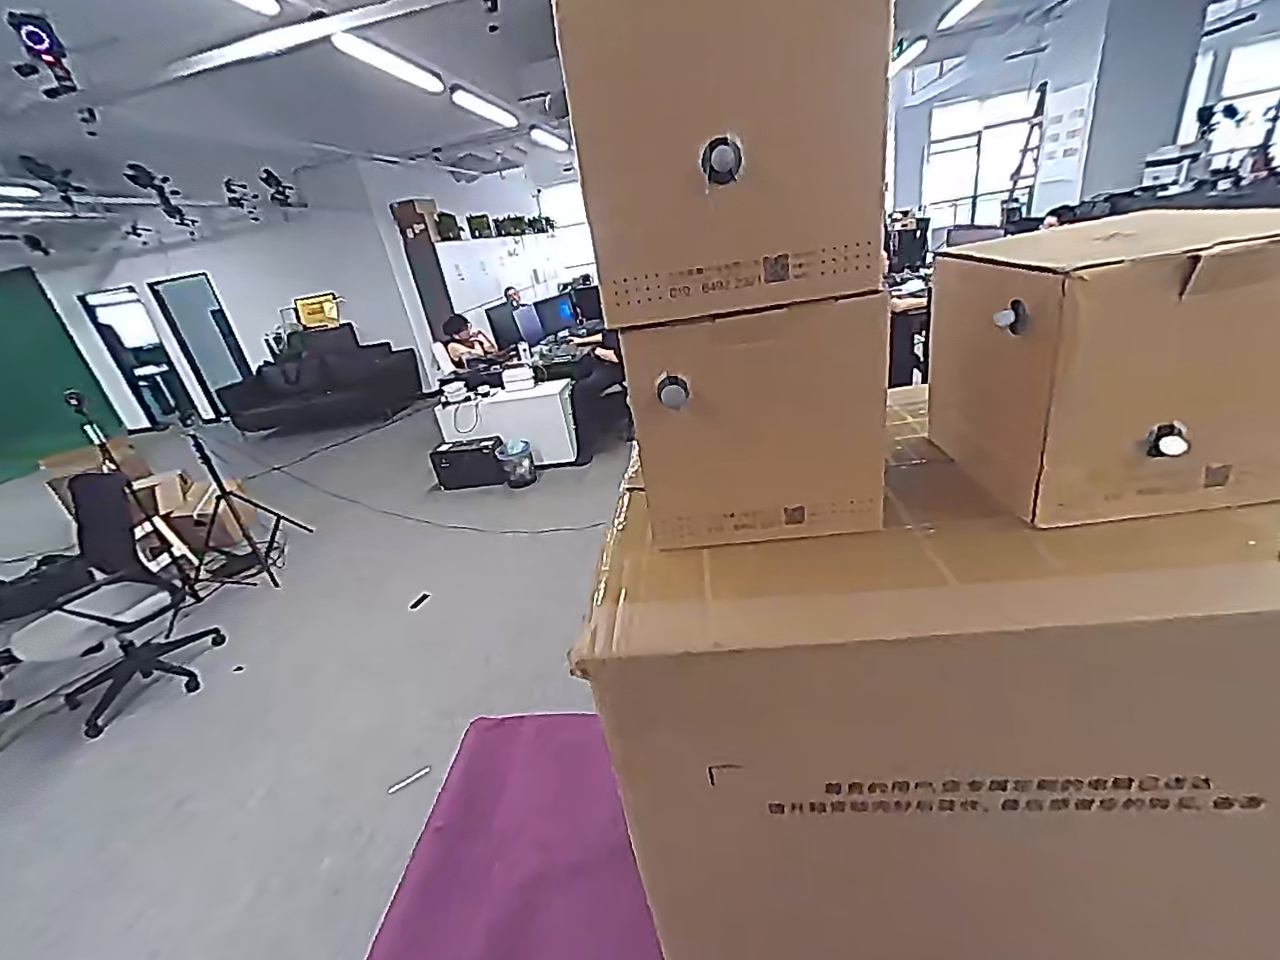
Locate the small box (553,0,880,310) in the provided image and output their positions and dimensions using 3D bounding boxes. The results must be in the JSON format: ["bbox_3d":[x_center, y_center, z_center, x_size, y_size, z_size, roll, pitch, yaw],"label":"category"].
[{"bbox_3d":[0.051,-0.216,0.363,0.168,0.176,0.179,-6,24,5],"label":"small box"}]

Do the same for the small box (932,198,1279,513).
[{"bbox_3d":[0.331,-0.094,0.391,0.168,0.176,0.179,-8,25,7],"label":"small box"}]
